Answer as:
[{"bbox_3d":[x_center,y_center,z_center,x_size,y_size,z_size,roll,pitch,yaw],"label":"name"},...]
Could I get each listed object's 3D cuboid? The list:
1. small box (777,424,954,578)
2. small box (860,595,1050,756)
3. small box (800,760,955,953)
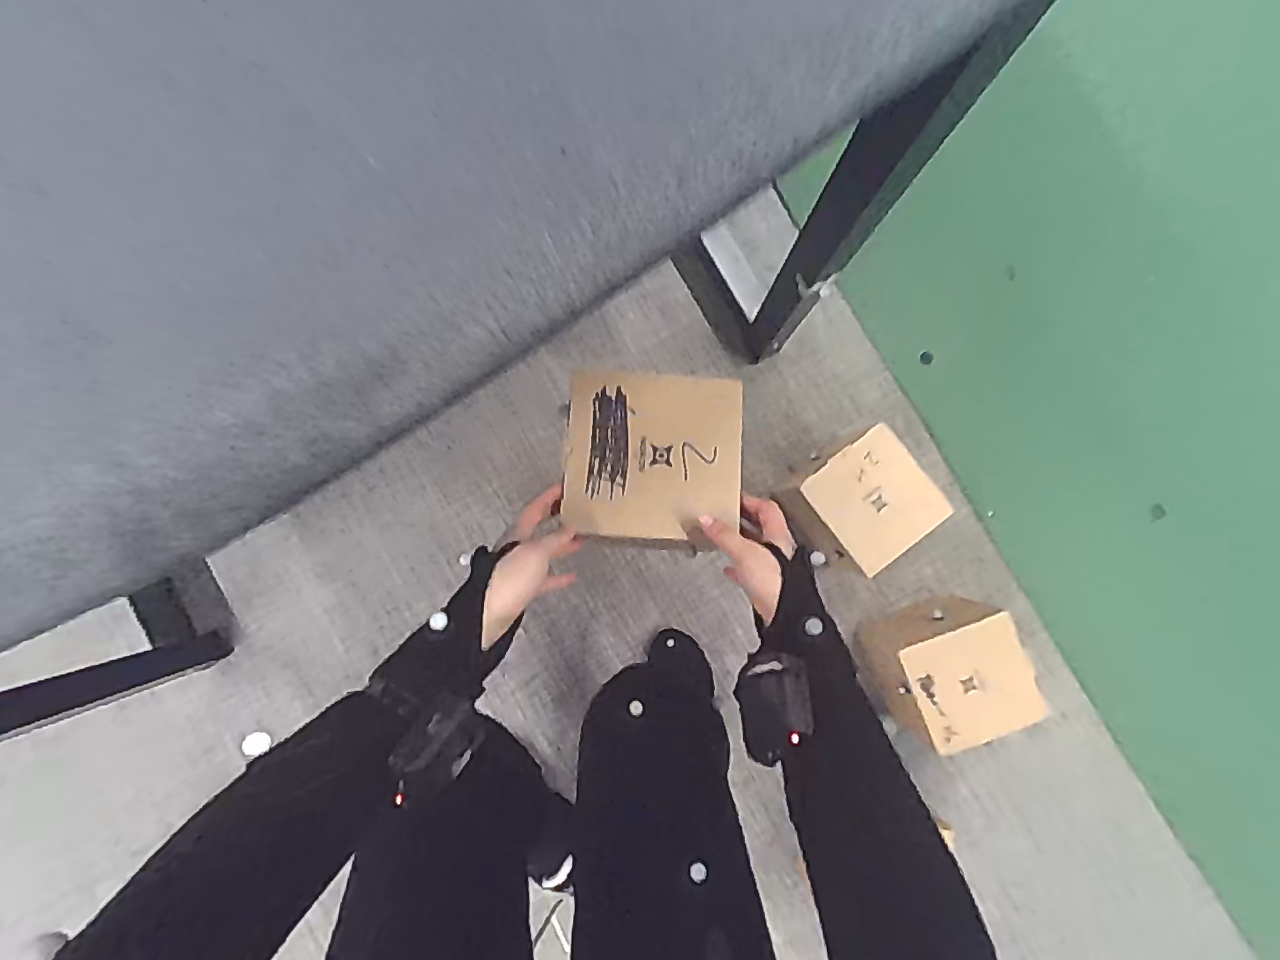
[{"bbox_3d":[0.353,0.033,0.881,0.168,0.176,0.179,-37,87,-2],"label":"small box"},{"bbox_3d":[0.487,0.297,0.864,0.179,0.176,0.168,-20,87,0],"label":"small box"},{"bbox_3d":[0.360,0.578,0.852,0.168,0.176,0.179,9,86,2],"label":"small box"}]
